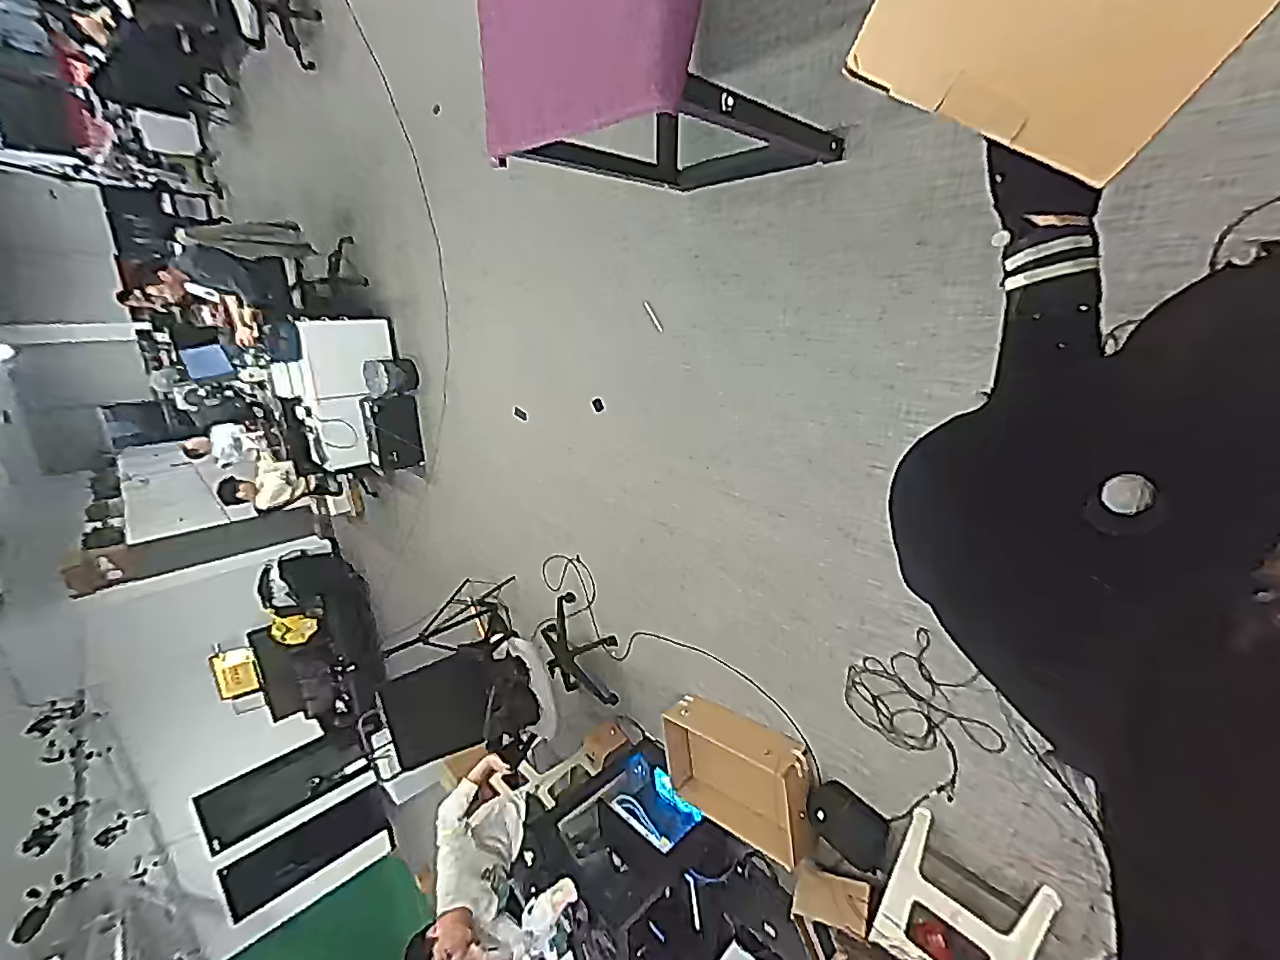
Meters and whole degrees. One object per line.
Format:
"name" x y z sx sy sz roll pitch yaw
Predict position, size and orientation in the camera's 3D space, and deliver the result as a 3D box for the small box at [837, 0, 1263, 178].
"small box" 0.234 -0.302 0.288 0.168 0.179 0.176 28 141 4
